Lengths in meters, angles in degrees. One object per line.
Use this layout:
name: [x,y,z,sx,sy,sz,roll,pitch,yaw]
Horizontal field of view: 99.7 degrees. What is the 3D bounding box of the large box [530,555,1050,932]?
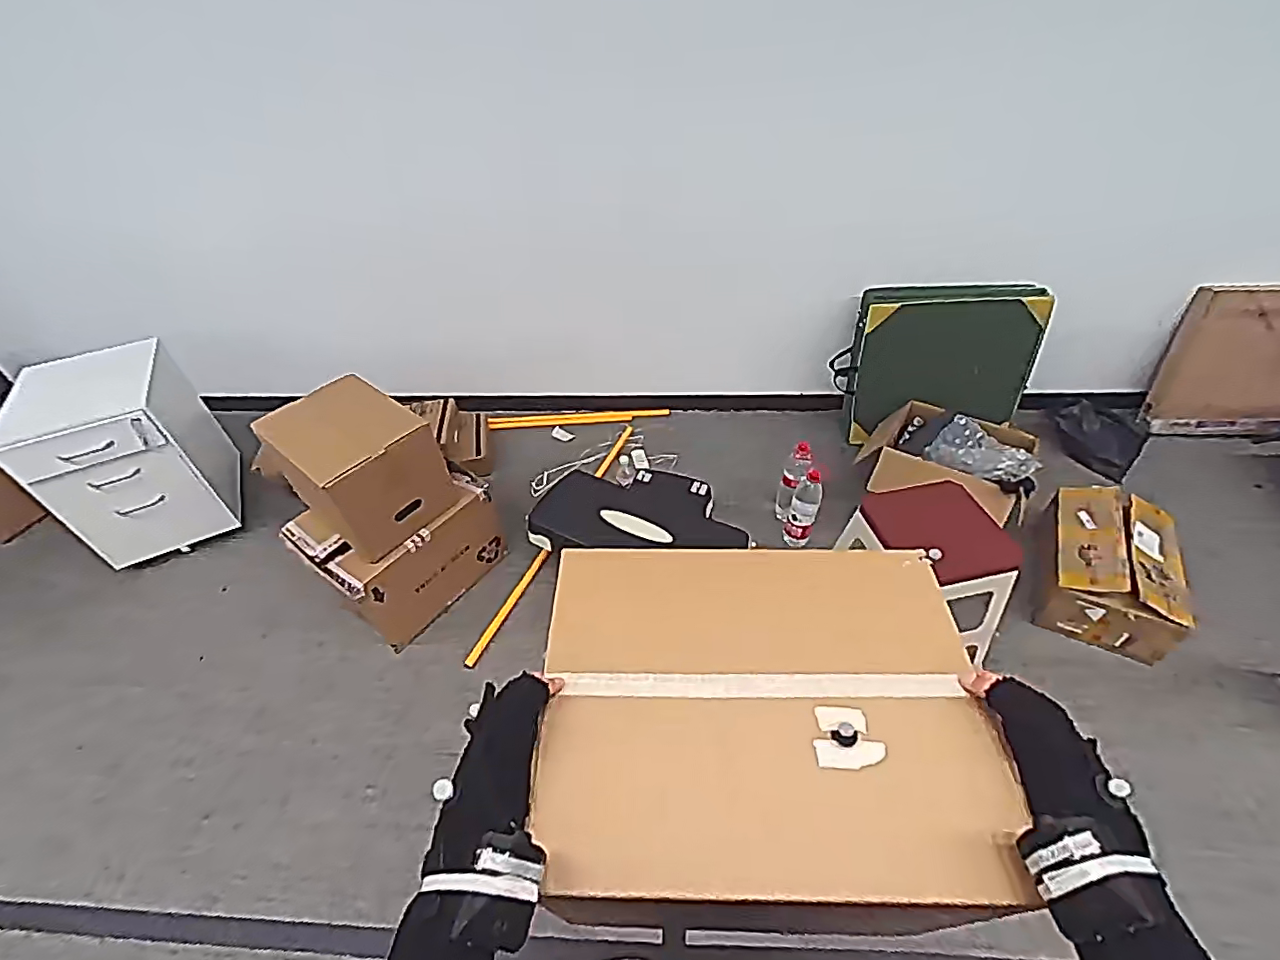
large box: [0.114,0.300,0.616,0.408,0.320,0.320,0,47,1]
